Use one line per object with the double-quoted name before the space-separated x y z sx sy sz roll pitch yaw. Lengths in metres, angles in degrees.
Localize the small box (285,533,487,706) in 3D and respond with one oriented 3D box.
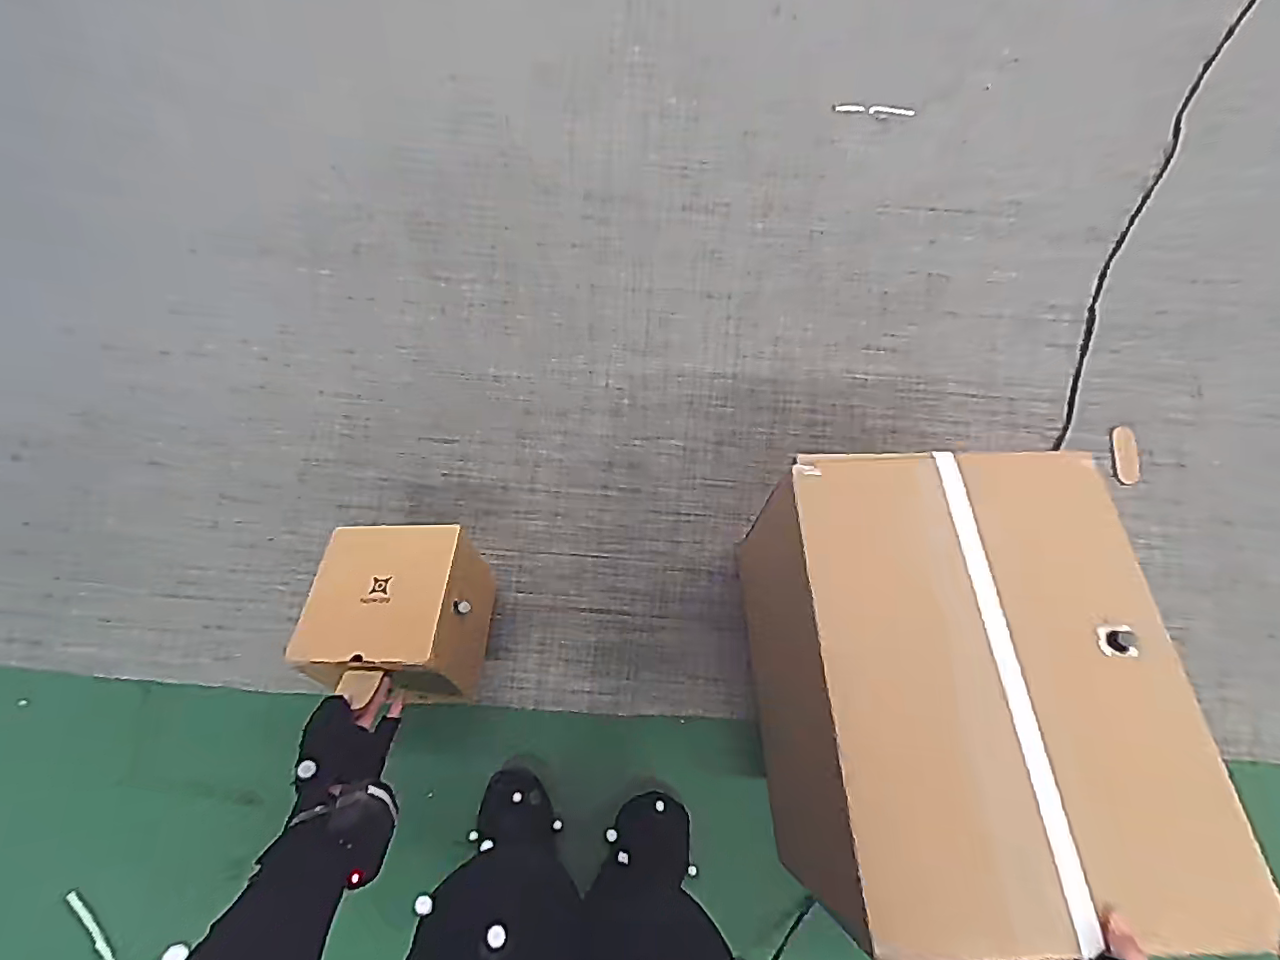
"small box" -0.309 0.185 0.707 0.168 0.176 0.179 -1 57 2
